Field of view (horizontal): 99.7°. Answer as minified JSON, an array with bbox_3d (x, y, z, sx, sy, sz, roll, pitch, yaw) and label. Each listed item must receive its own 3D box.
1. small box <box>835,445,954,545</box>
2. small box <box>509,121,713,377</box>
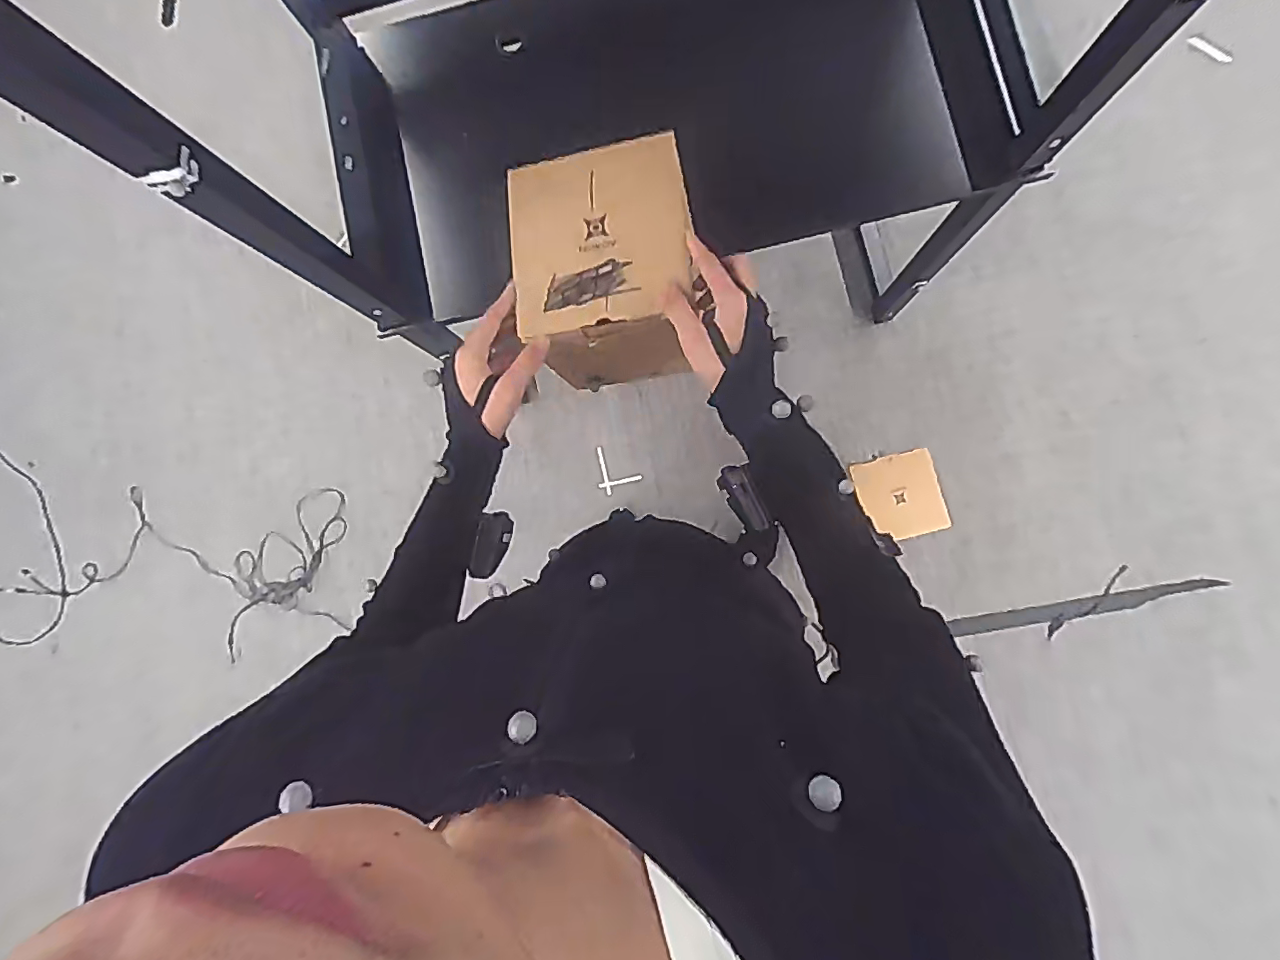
[{"bbox_3d":[0.549,0.034,1.188,0.168,0.176,0.179,-16,85,5],"label":"small box"},{"bbox_3d":[-0.019,-0.215,0.560,0.168,0.176,0.179,-7,82,12],"label":"small box"}]
